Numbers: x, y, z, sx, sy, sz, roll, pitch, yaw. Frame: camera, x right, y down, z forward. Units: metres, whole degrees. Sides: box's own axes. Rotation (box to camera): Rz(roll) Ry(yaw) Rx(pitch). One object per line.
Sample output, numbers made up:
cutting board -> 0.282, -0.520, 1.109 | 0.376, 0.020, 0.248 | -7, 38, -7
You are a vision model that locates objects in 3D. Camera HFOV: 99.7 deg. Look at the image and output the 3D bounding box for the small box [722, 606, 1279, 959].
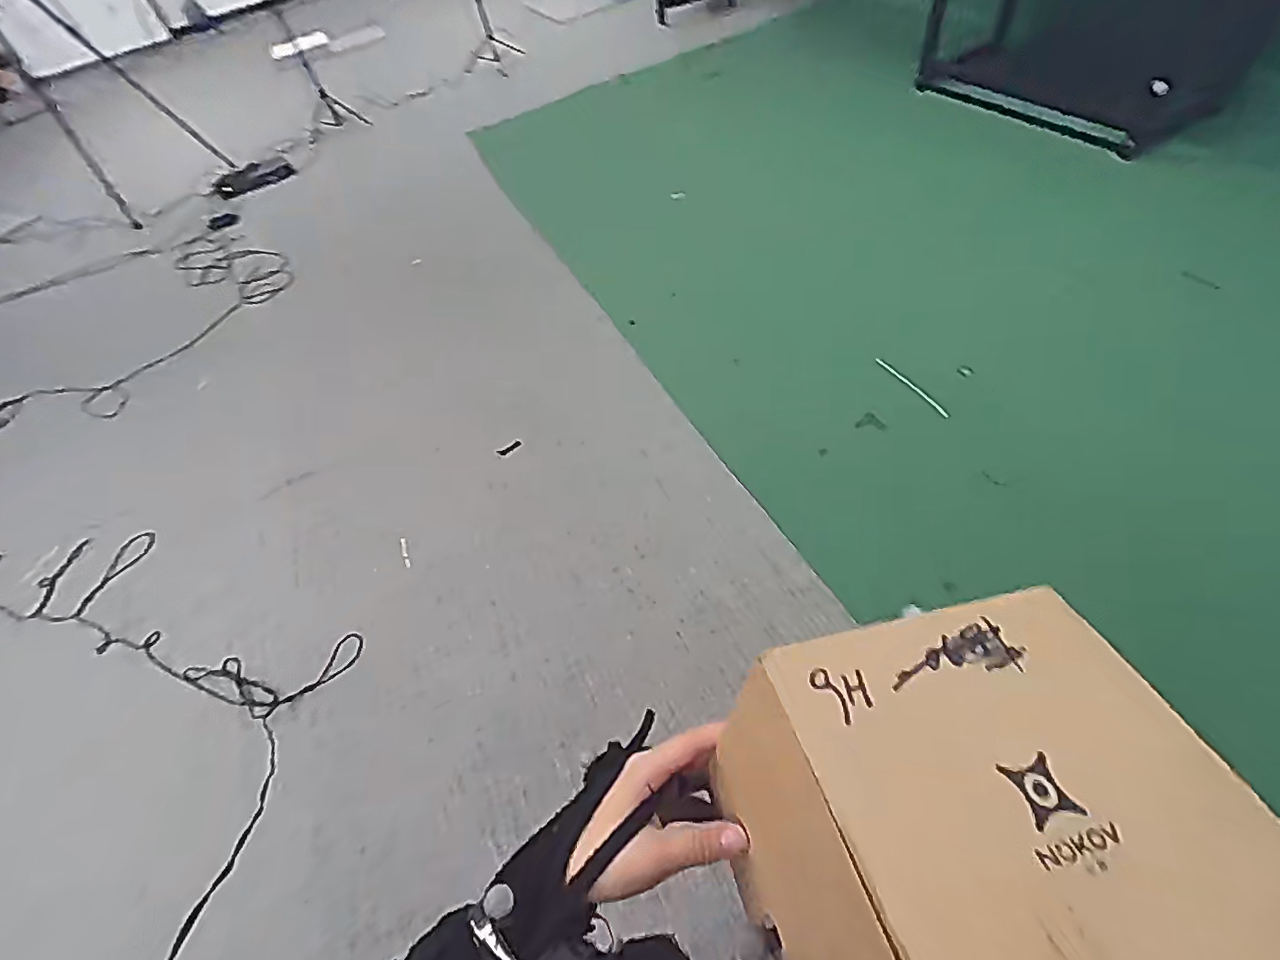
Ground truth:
small box -> 0.152, 0.189, 0.255 | 0.168, 0.176, 0.179 | -7, 46, -12
